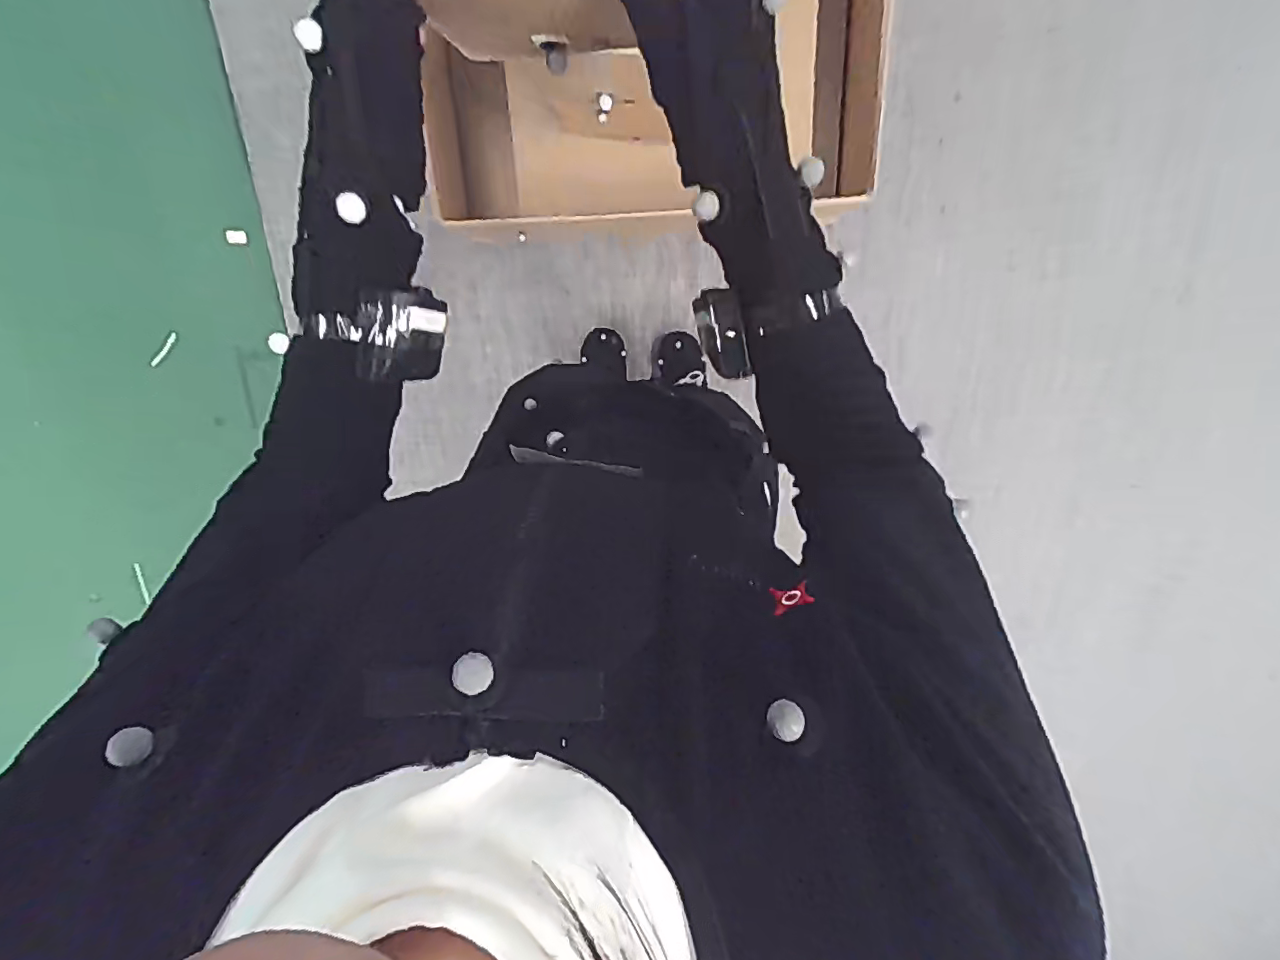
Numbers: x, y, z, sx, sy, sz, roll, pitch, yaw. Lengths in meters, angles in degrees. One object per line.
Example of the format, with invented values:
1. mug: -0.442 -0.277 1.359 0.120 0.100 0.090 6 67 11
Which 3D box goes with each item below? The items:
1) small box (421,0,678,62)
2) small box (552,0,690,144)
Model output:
1. small box: -0.062 -0.374 0.311 0.168 0.176 0.179 -1 116 5
2. small box: -0.021 -0.588 0.739 0.168 0.176 0.179 6 109 1
